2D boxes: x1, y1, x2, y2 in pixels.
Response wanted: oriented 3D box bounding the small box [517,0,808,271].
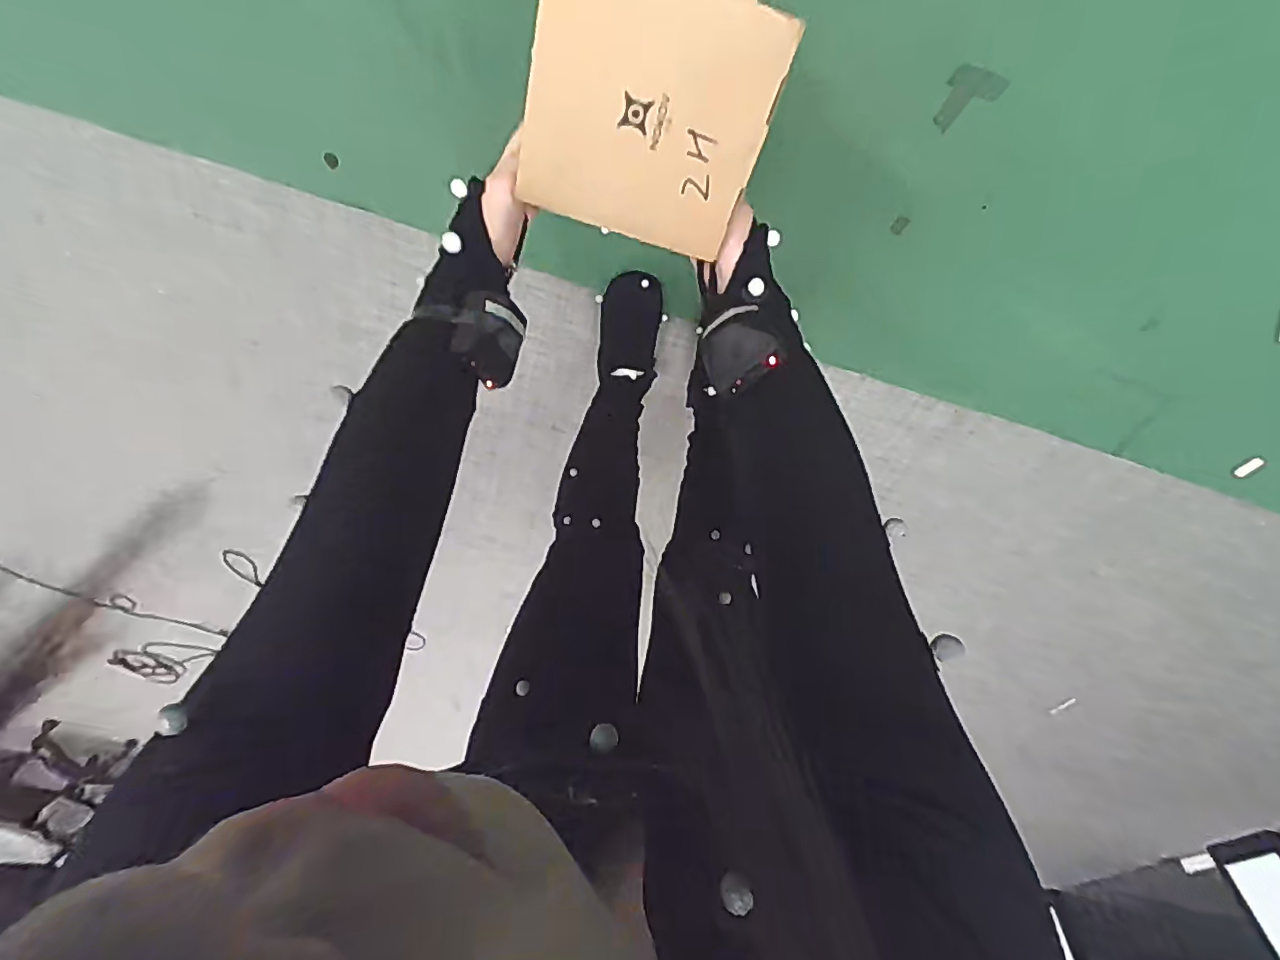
[{"bbox_3d":[0.010,-0.307,0.454,0.179,0.176,0.168,14,131,-9],"label":"small box"}]
